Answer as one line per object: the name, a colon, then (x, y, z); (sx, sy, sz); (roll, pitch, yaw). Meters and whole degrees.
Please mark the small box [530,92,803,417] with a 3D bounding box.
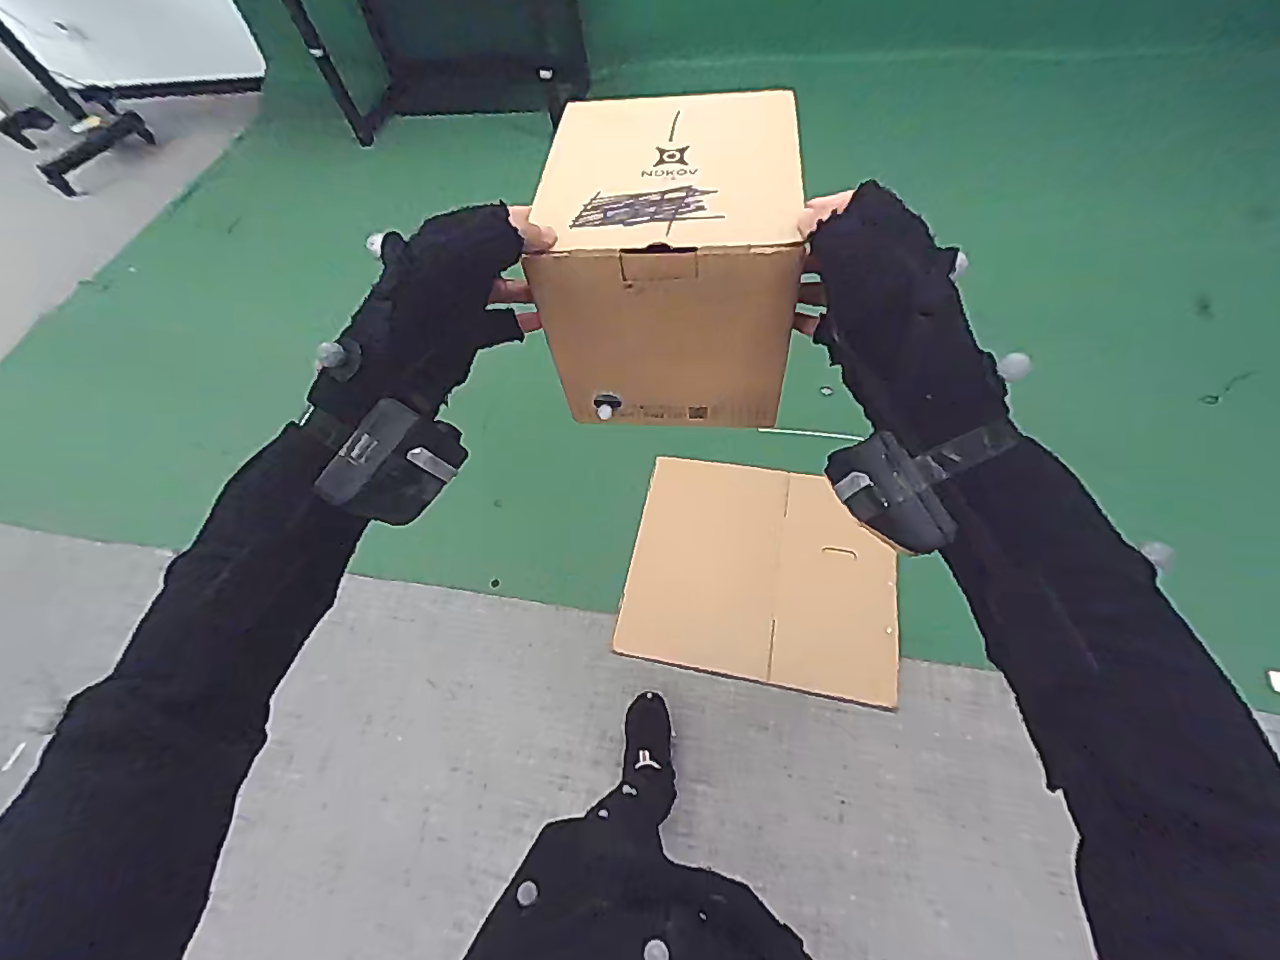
small box: (0.030, -0.165, 0.423); (0.168, 0.176, 0.179); (3, 58, 8)
